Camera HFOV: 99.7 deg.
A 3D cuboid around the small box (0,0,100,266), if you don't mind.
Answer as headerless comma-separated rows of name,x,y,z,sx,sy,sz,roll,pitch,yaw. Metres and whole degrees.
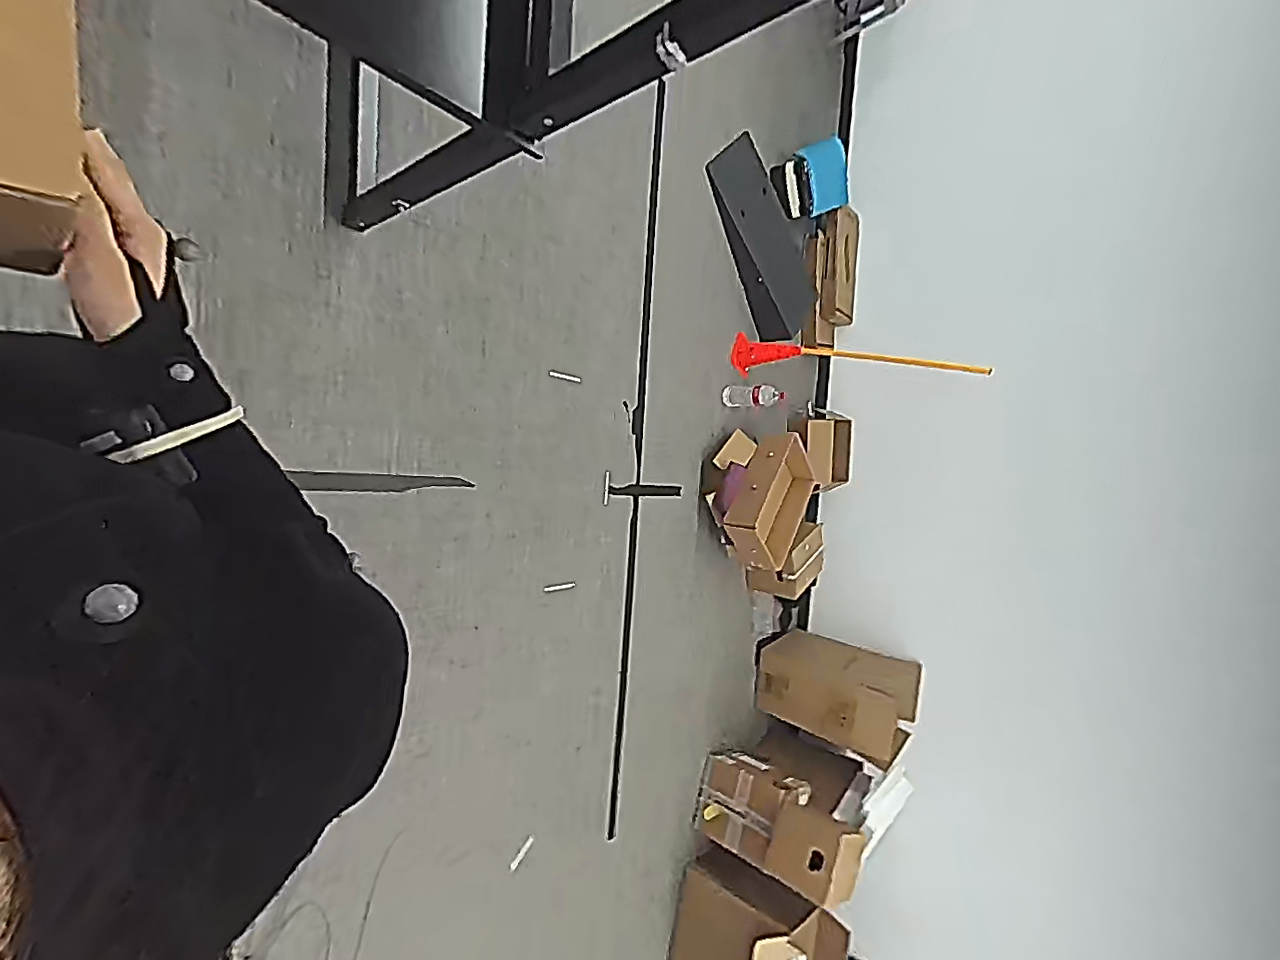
small box,-0.365,-0.211,0.239,0.168,0.176,0.179,-4,98,-51
